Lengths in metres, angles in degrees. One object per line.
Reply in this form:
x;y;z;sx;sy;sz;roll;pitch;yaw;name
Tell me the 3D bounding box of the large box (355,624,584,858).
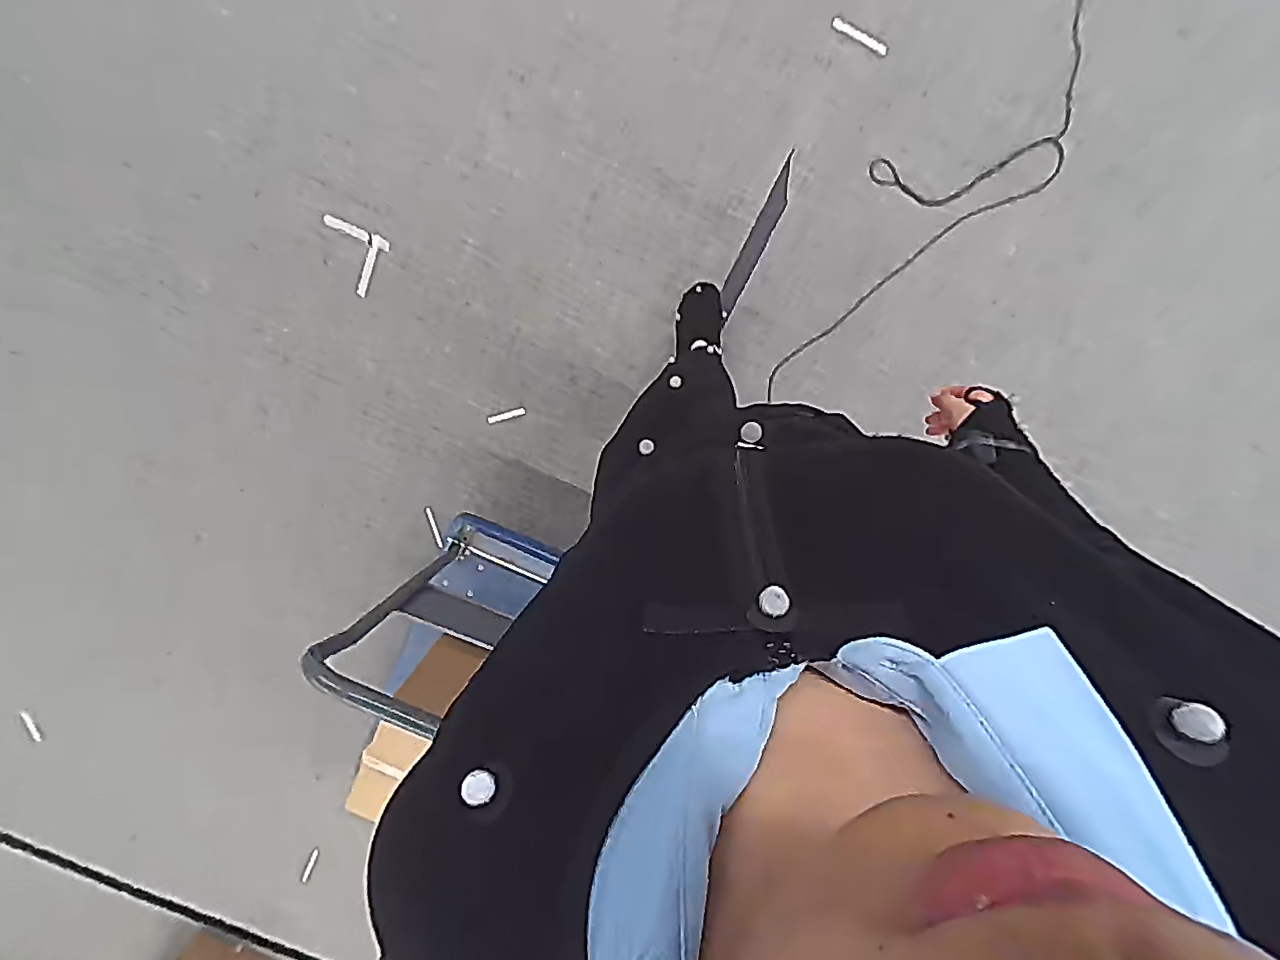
-0.396;0.621;1.336;0.408;0.320;0.320;25;103;-5;large box
